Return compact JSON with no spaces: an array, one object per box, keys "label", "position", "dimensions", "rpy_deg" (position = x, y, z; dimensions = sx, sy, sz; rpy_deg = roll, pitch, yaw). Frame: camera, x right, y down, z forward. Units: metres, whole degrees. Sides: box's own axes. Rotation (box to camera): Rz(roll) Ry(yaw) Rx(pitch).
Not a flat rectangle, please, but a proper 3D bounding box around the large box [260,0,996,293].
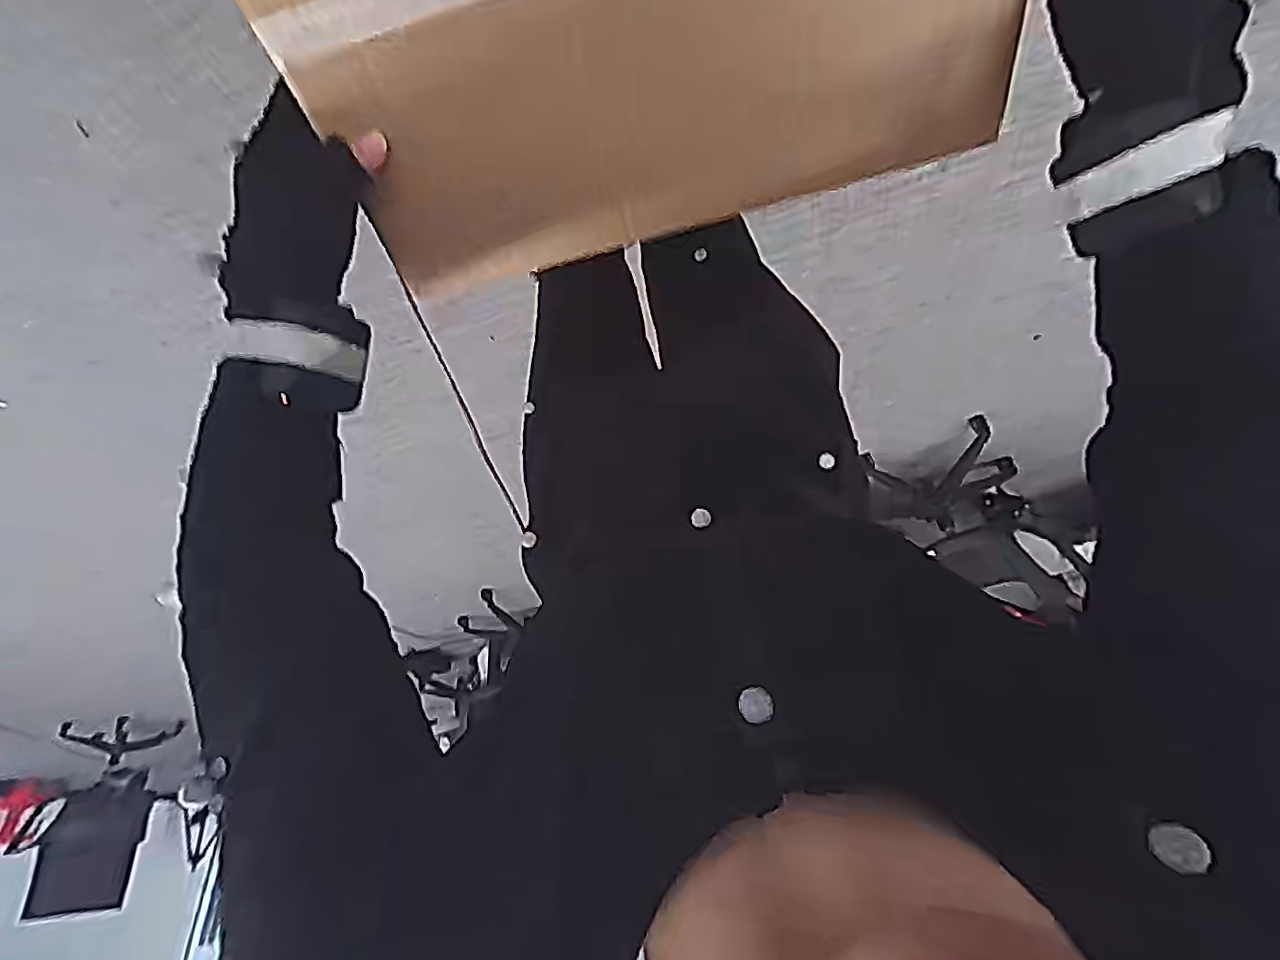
[{"label":"large box","position":[-0.014,-0.393,0.382],"dimensions":[0.408,0.320,0.320],"rpy_deg":[-11,135,9]}]
